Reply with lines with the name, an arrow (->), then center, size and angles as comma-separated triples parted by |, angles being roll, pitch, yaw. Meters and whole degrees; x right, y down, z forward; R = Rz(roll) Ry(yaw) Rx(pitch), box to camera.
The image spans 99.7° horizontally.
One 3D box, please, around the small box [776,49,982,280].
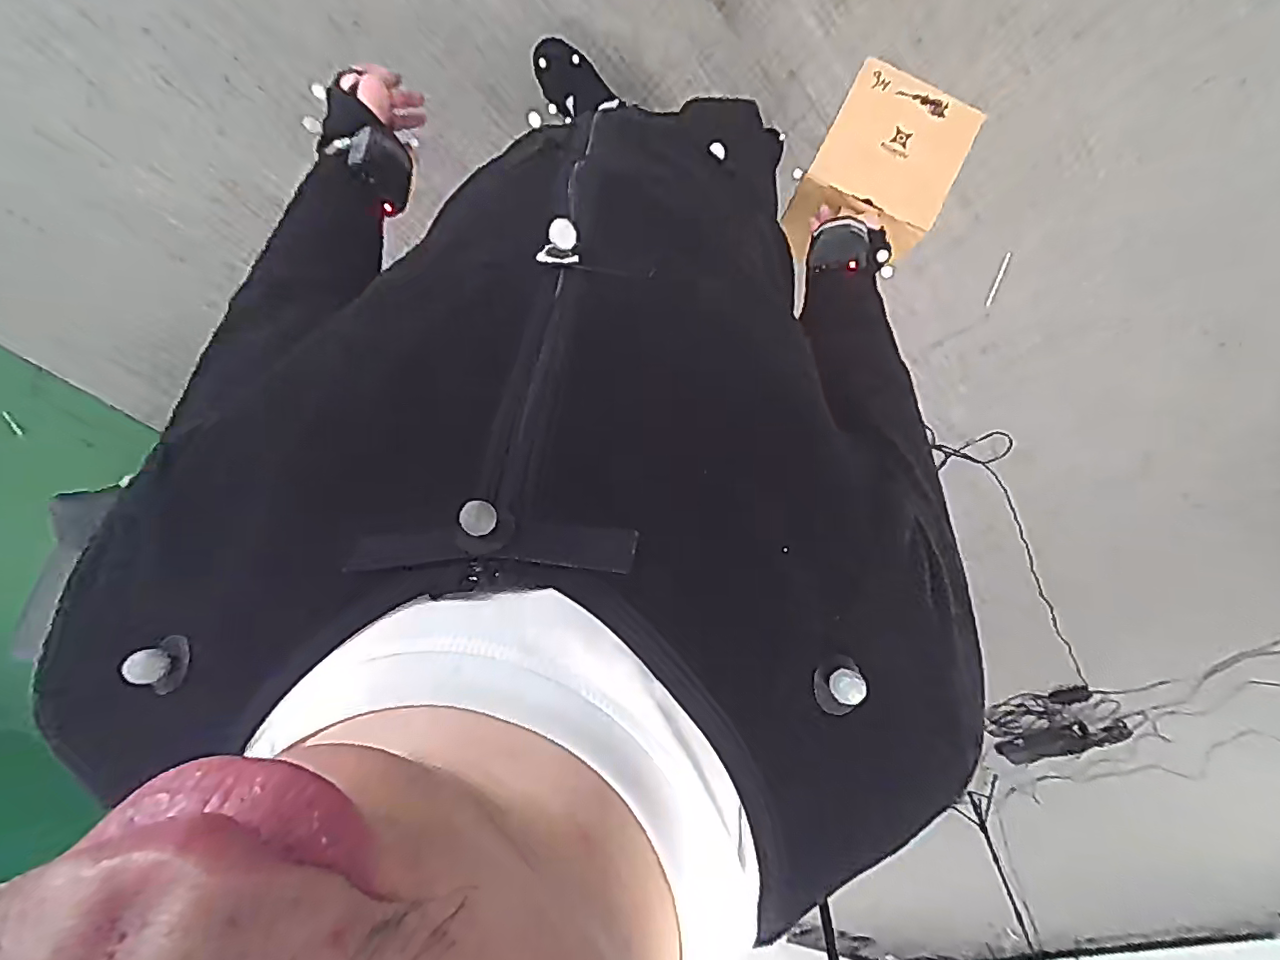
small box -> 0.303, -0.406, 0.731 | 0.168, 0.176, 0.179 | 28, 86, -1
